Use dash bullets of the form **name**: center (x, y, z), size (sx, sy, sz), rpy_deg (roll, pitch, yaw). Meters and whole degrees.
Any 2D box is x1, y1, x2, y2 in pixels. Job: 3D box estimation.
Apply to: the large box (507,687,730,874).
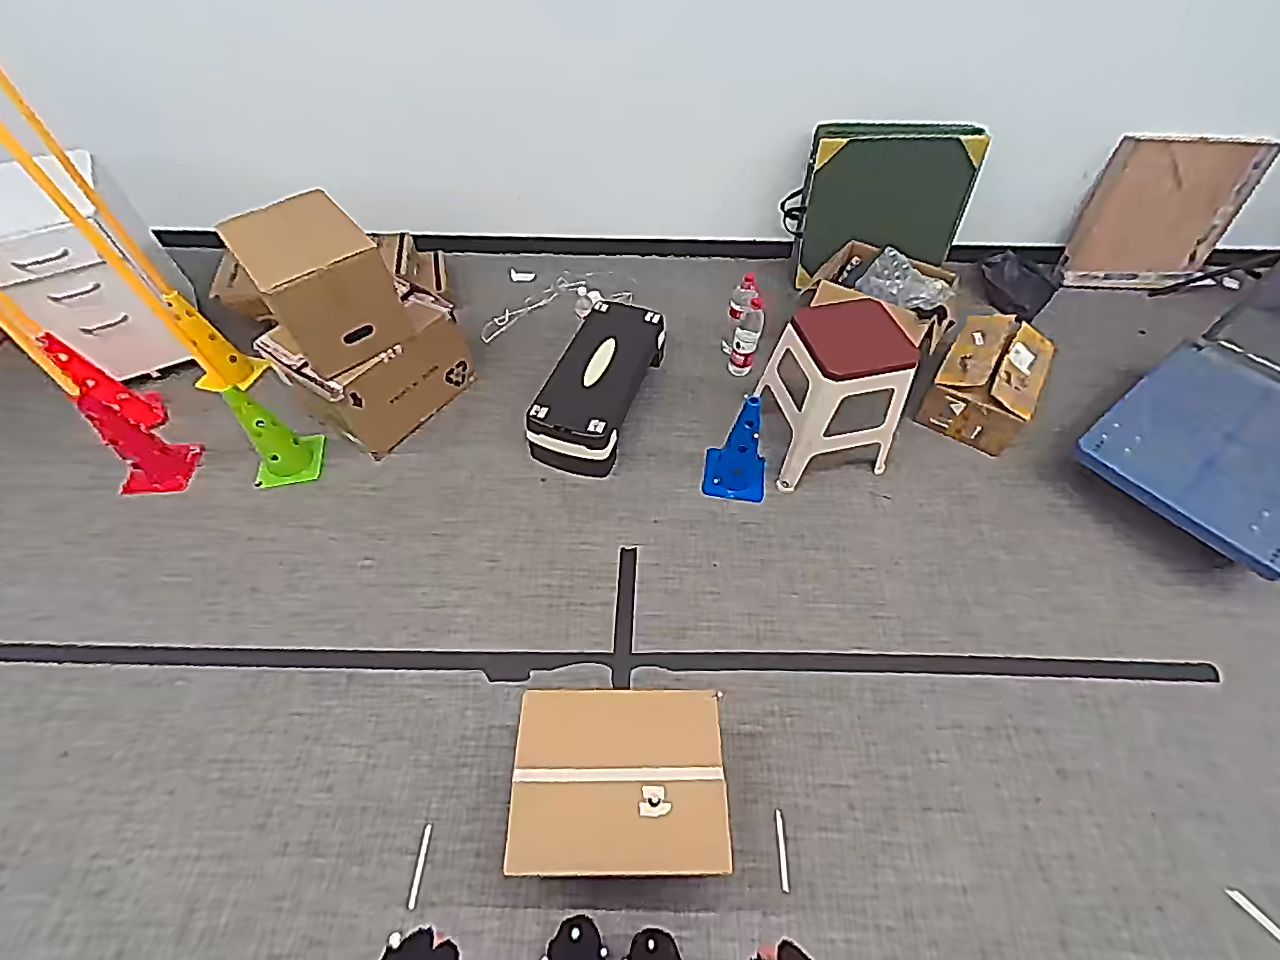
- **large box**: center (-0.046, 0.647, 1.158), size (0.408, 0.320, 0.320), rpy_deg (1, 55, -2)
